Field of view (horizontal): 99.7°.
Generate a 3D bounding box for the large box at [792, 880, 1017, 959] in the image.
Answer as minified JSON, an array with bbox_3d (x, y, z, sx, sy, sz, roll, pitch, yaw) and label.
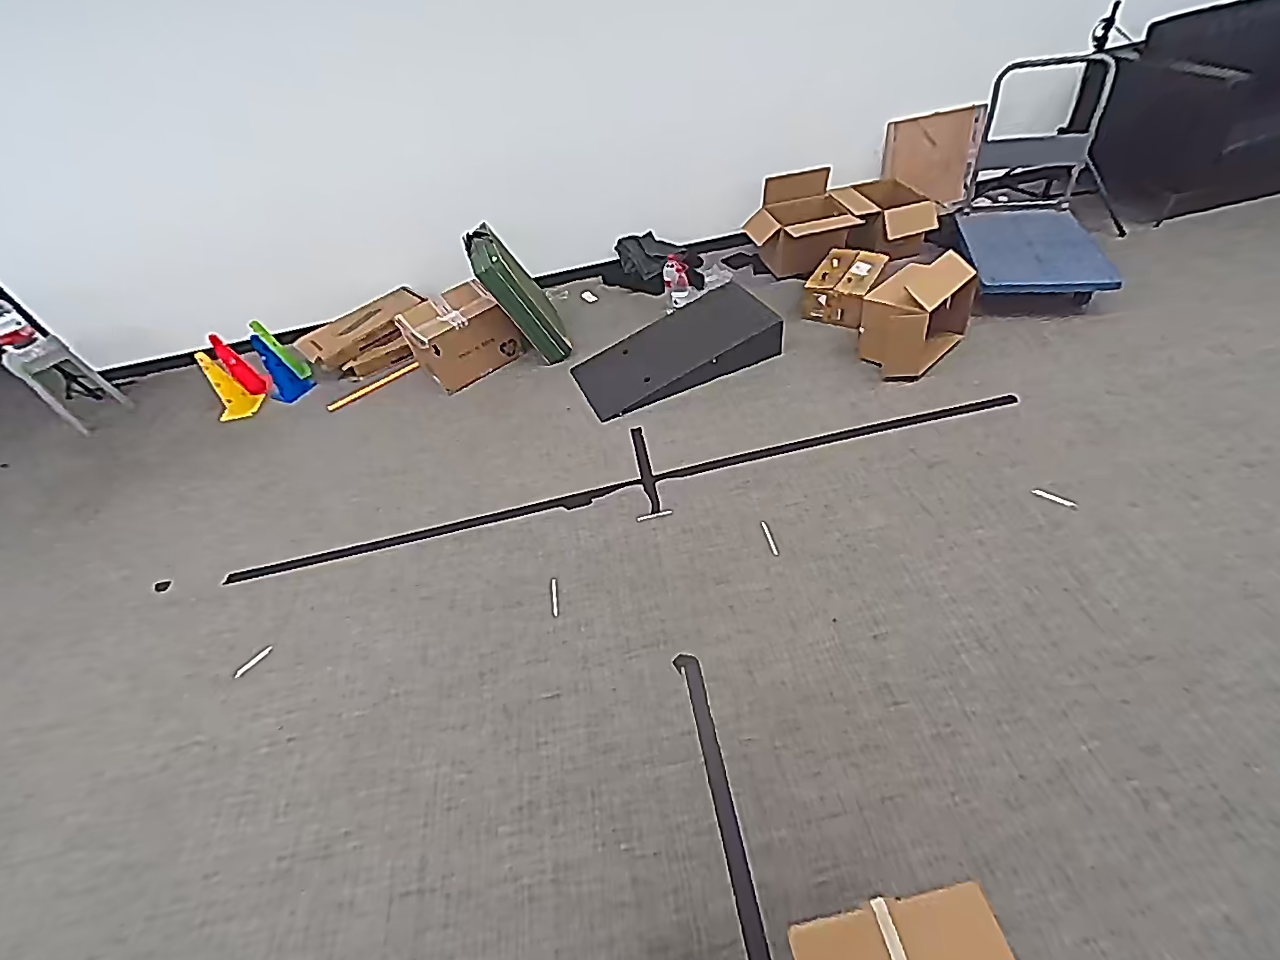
[{"bbox_3d":[0.461,0.912,0.841,0.320,0.320,0.408,-18,48,5],"label":"large box"}]
